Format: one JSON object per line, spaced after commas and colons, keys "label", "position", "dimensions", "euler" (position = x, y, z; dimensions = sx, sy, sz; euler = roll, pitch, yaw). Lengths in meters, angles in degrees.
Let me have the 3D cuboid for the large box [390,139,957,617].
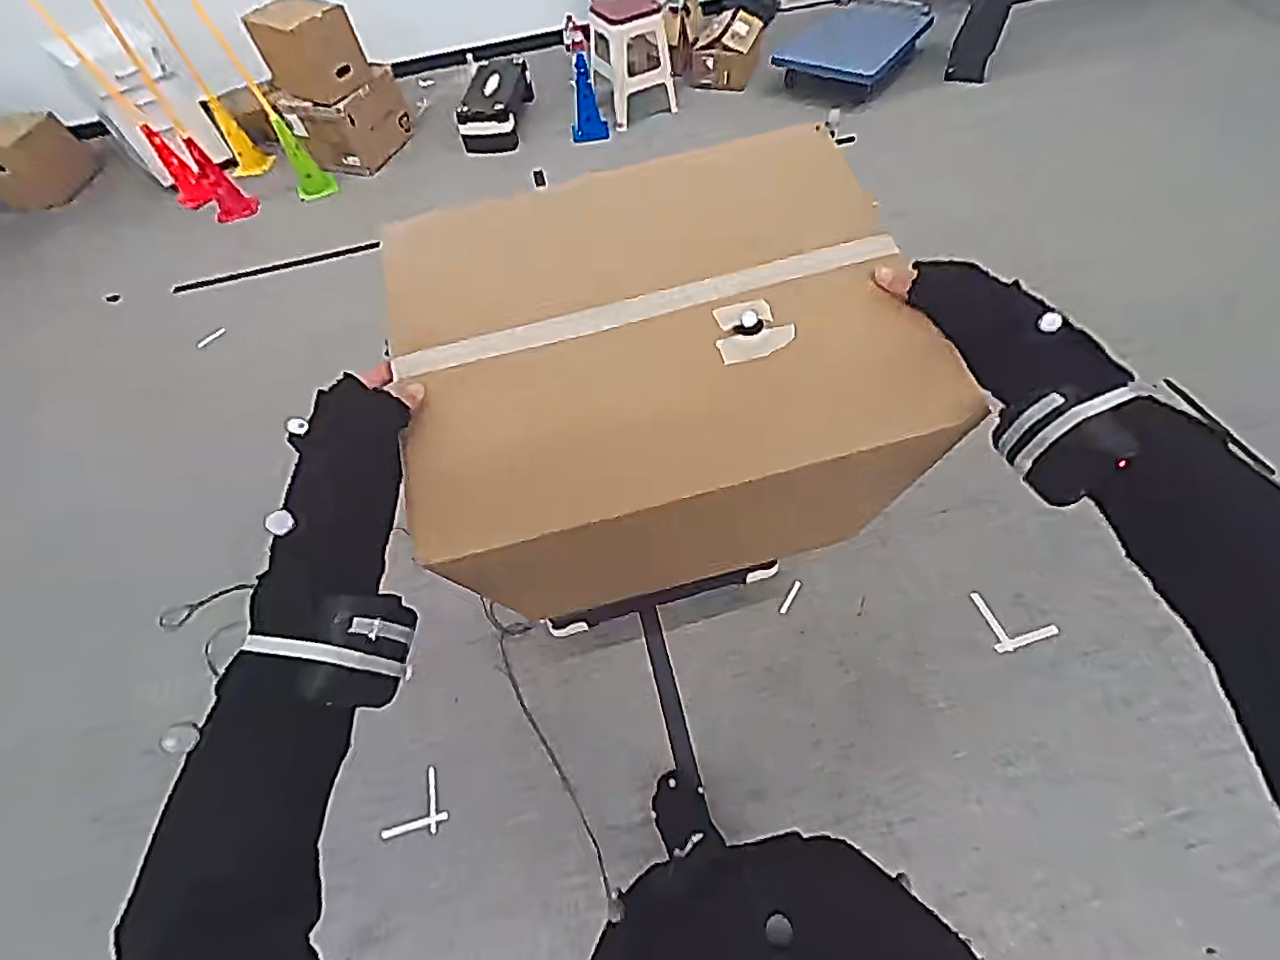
{"label": "large box", "position": [0.011, -0.075, 0.574], "dimensions": [0.408, 0.320, 0.320], "euler": [-15, 69, -2]}
